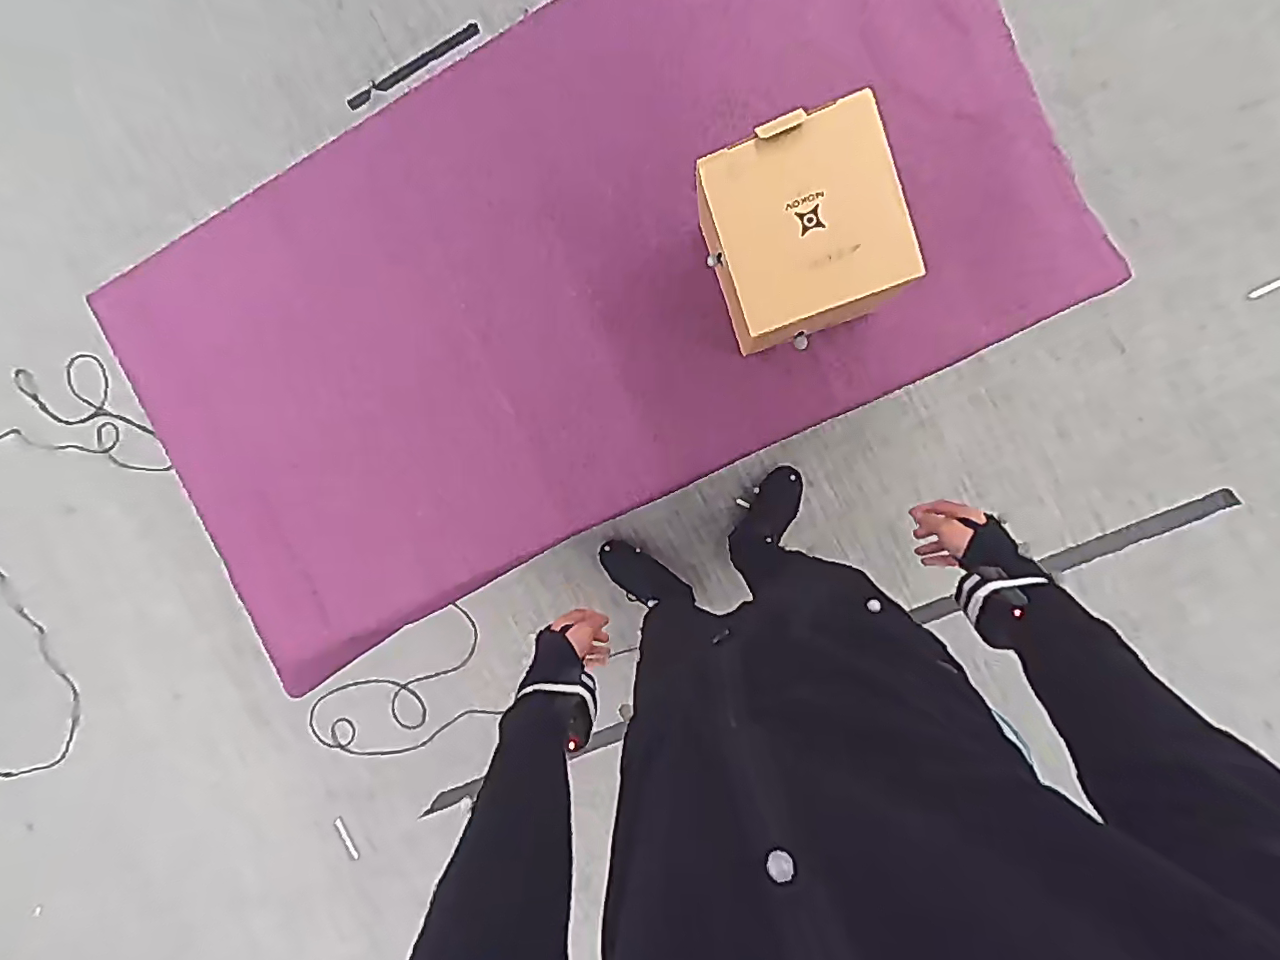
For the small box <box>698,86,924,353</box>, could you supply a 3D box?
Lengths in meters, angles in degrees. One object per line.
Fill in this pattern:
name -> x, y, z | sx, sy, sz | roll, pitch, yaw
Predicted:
small box -> 0.163, -0.250, 0.569 | 0.168, 0.176, 0.179 | -17, 93, 10
